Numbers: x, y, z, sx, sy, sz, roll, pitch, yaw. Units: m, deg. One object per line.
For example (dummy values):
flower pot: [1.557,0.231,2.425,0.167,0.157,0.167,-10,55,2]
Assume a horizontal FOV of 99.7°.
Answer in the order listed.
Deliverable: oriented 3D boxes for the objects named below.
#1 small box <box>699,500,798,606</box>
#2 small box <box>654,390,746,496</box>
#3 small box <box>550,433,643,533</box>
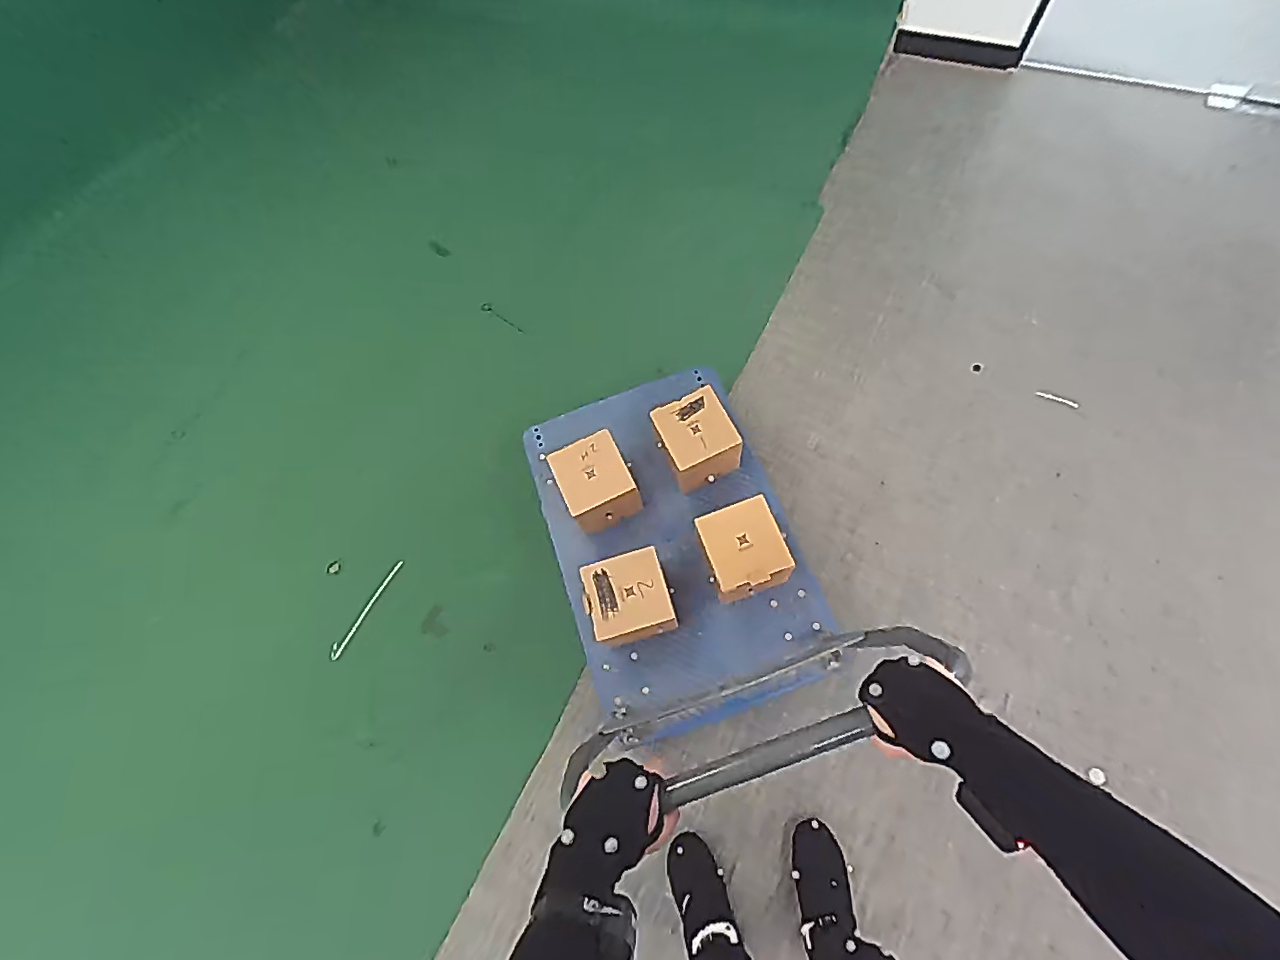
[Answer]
small box: [0.239,0.173,1.239,0.168,0.176,0.179,-20,69,-1]
small box: [0.147,-0.086,1.349,0.168,0.176,0.179,-25,69,-3]
small box: [-0.101,0.017,1.337,0.168,0.176,0.179,-24,68,-4]
